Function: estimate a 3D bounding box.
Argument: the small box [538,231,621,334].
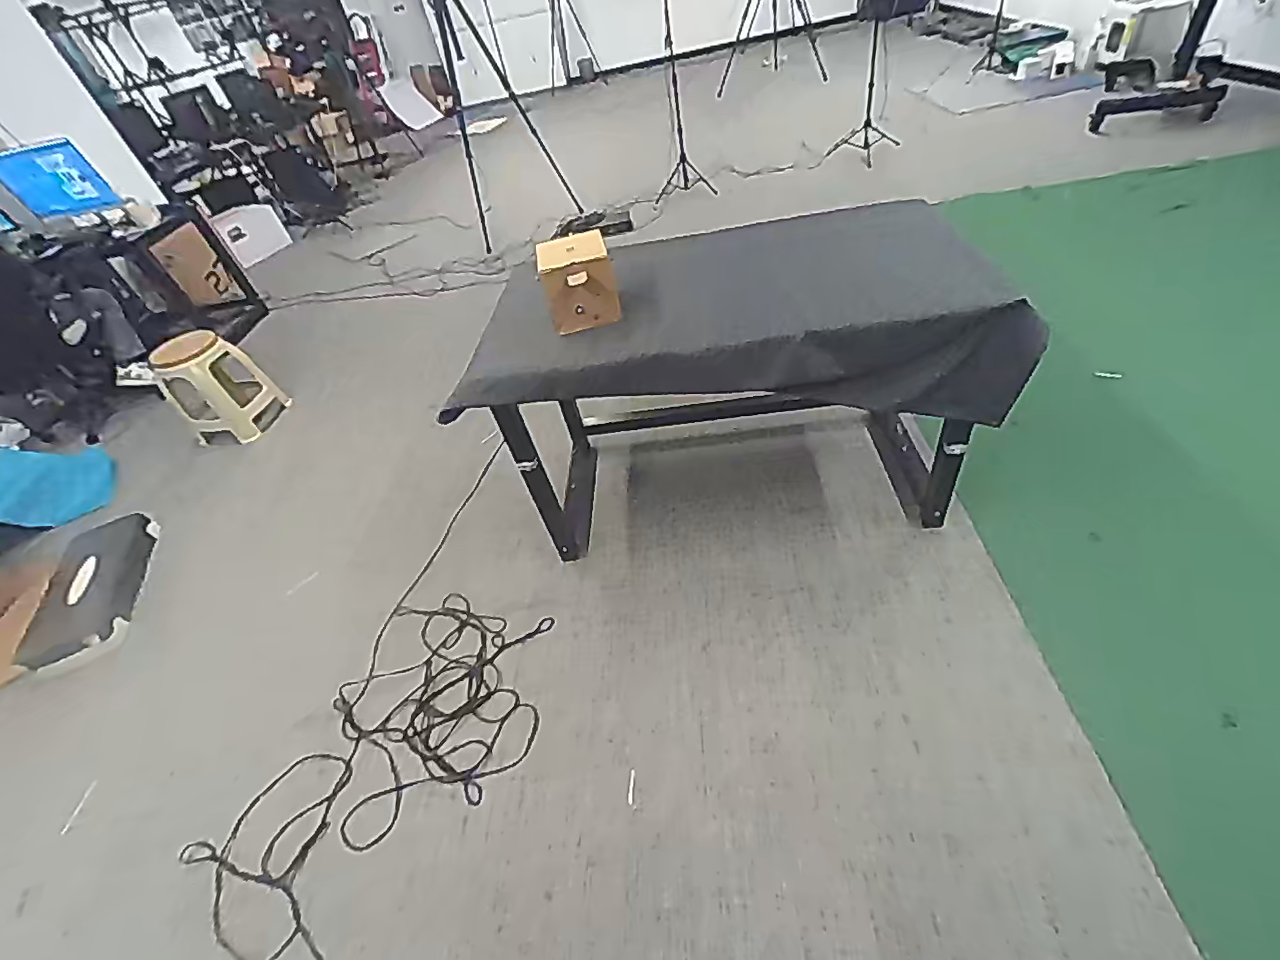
[{"bbox_3d":[-0.149,-0.488,1.340,0.168,0.176,0.179,-14,44,-1],"label":"small box"}]
